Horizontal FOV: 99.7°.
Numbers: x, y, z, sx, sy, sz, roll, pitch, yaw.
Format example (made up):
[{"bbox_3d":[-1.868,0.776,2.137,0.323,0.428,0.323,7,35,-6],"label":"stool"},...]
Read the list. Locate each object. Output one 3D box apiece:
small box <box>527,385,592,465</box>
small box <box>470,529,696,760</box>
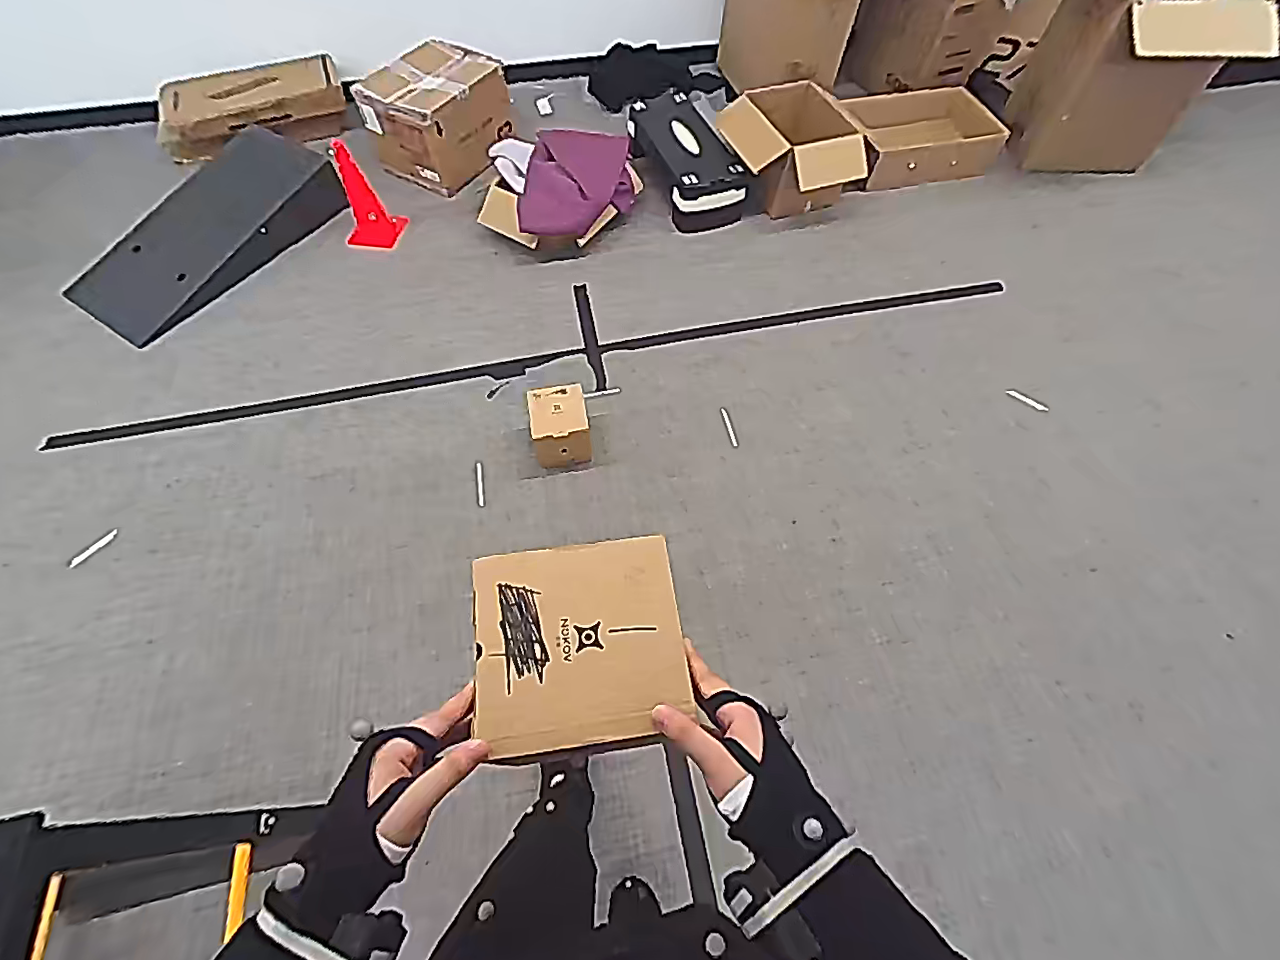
[{"bbox_3d":[-0.241,-0.158,1.637,0.168,0.176,0.179,-9,62,-5],"label":"small box"},{"bbox_3d":[-0.052,0.164,0.517,0.179,0.176,0.168,-7,62,-5],"label":"small box"}]
